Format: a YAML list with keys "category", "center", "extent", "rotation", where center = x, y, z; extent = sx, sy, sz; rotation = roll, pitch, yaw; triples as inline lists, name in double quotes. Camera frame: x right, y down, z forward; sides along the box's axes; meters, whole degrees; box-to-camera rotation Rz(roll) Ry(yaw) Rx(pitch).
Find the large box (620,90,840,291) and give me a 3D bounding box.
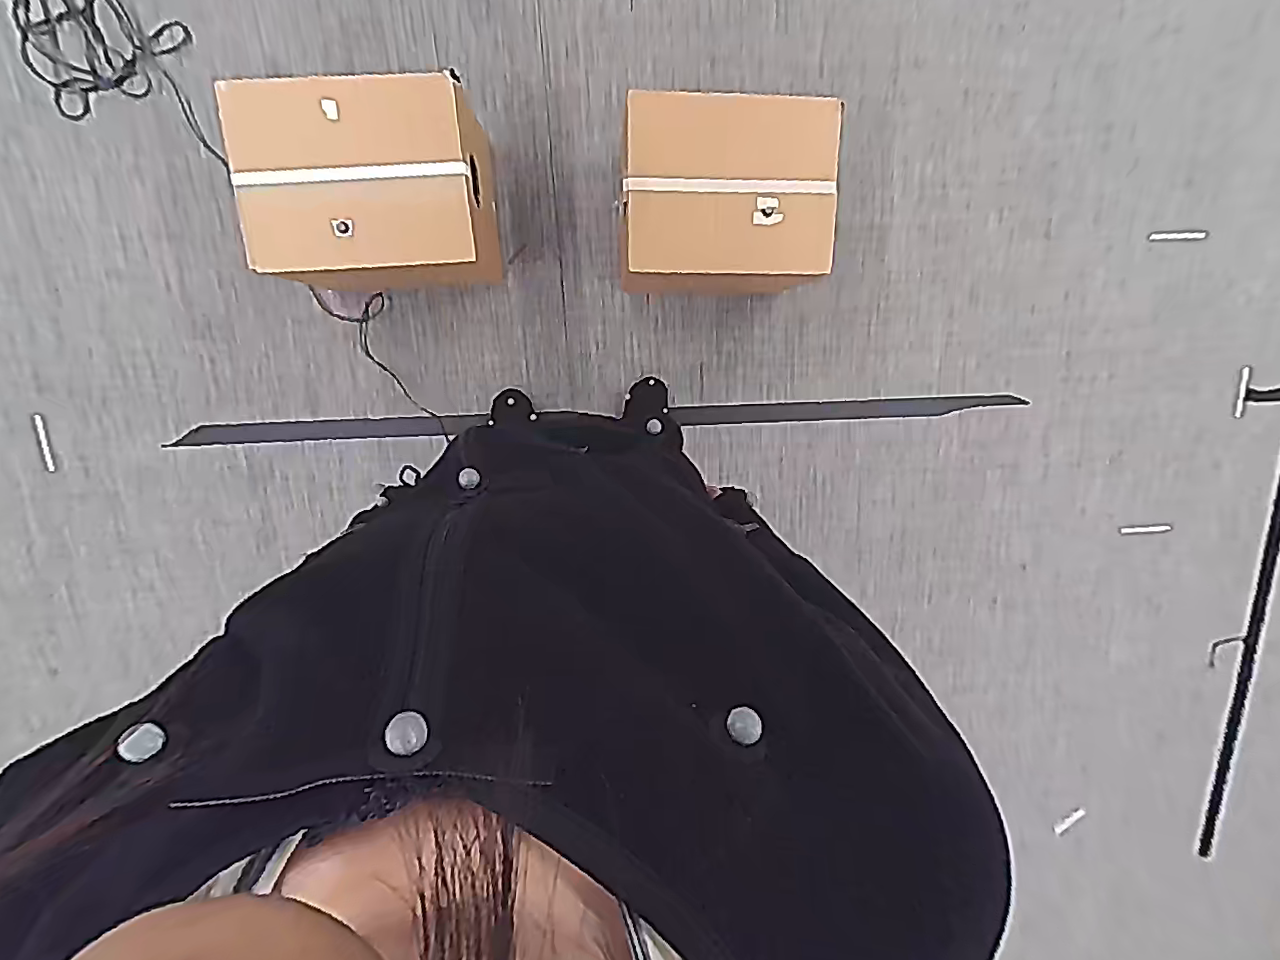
- category: "large box"
  center: [0.166, -0.593, 1.174]
  extent: [0.408, 0.320, 0.320]
  rotation: [-1, 103, -5]
